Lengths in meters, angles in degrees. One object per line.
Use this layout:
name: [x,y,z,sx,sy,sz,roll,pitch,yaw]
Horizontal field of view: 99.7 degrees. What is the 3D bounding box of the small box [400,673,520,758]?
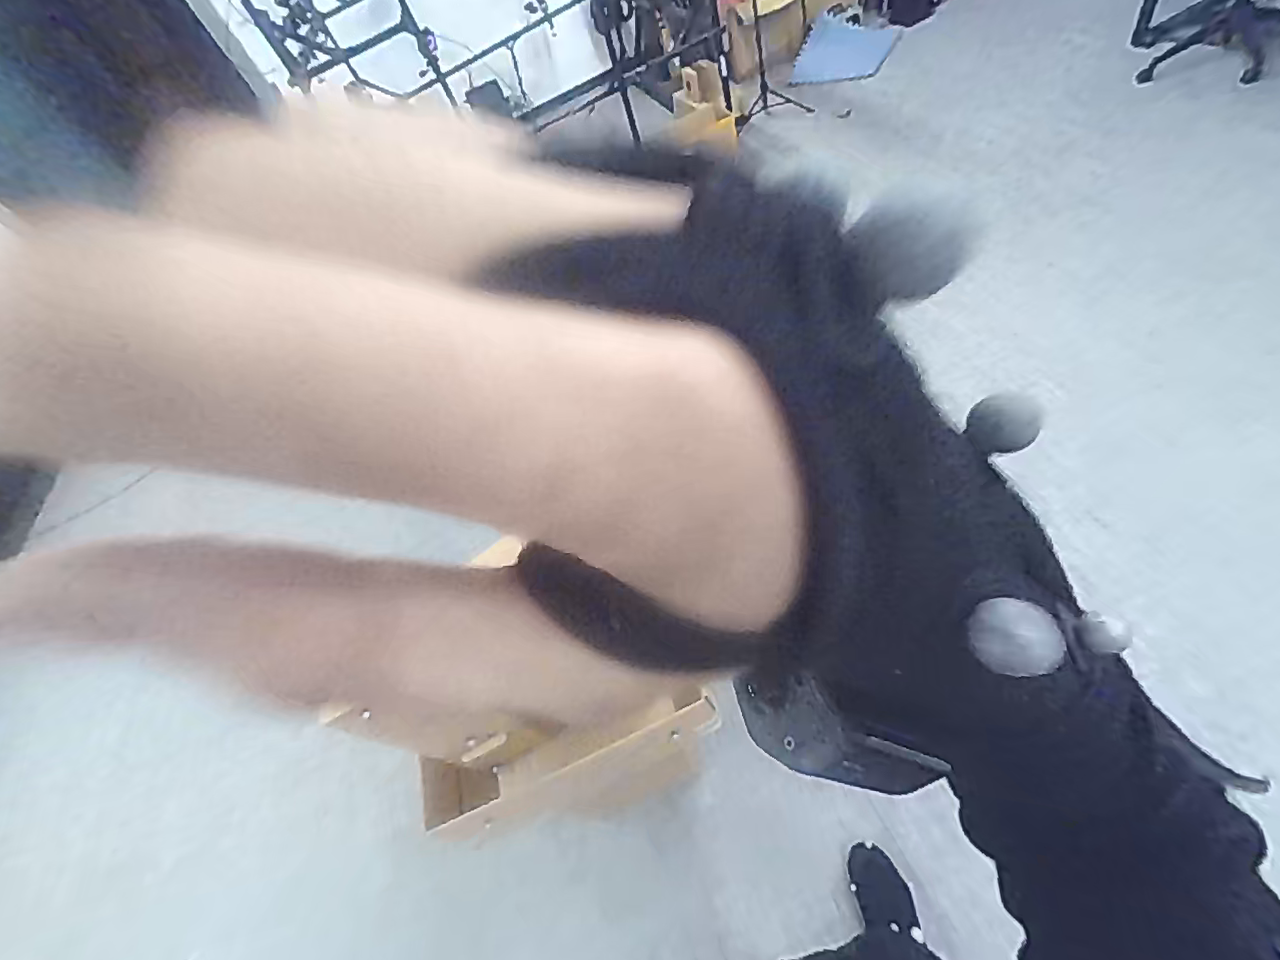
small box: [-0.359,0.413,1.058,0.168,0.176,0.179,-28,50,0]
